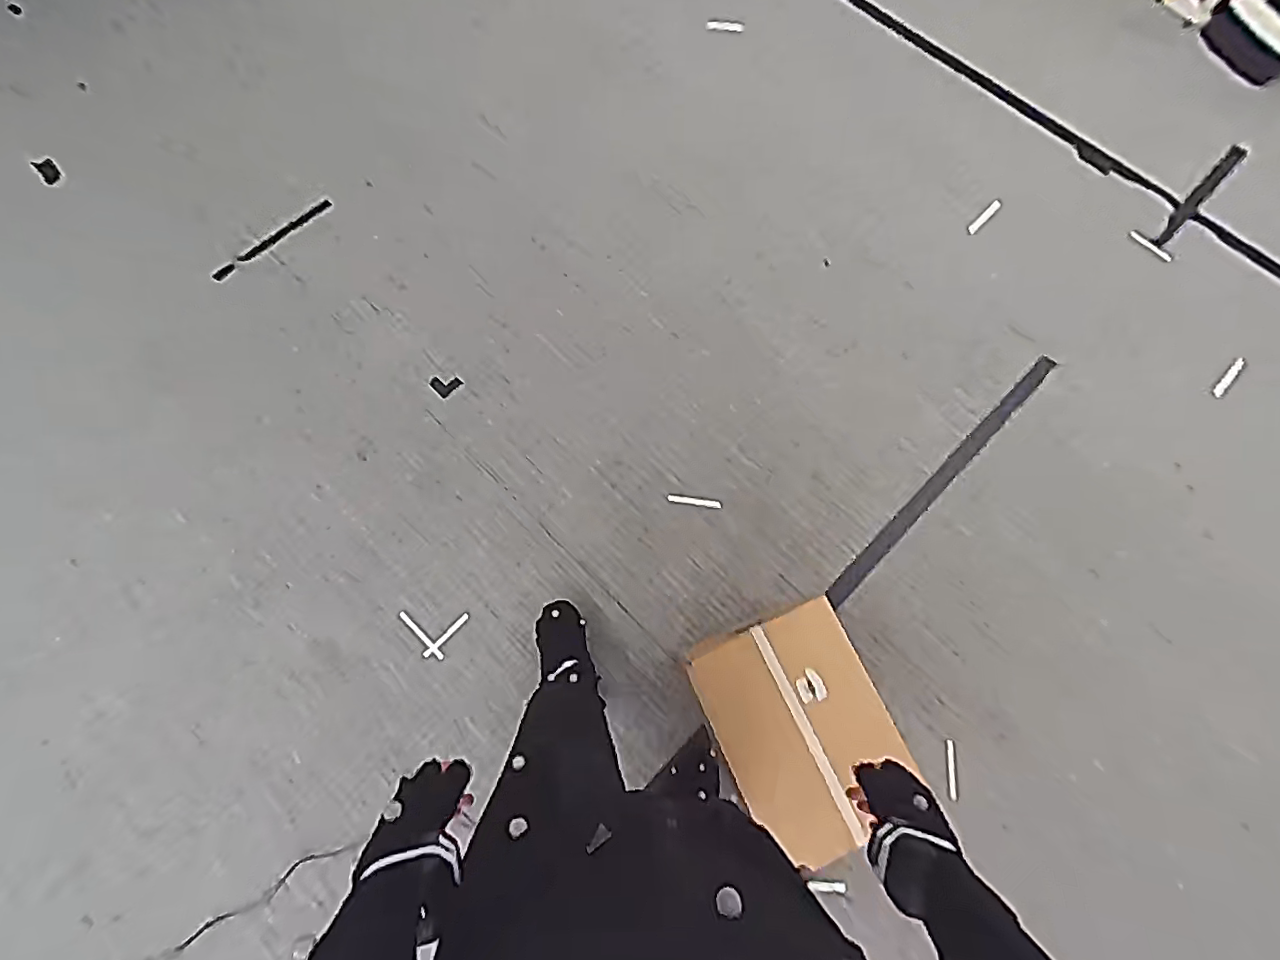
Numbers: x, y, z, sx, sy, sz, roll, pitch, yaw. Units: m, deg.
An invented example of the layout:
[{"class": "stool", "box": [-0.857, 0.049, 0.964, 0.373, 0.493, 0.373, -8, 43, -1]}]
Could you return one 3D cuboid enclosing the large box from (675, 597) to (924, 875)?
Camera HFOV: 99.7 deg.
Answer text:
[{"class": "large box", "box": [0.300, 0.505, 1.154, 0.320, 0.320, 0.408, -24, 75, -7]}]
